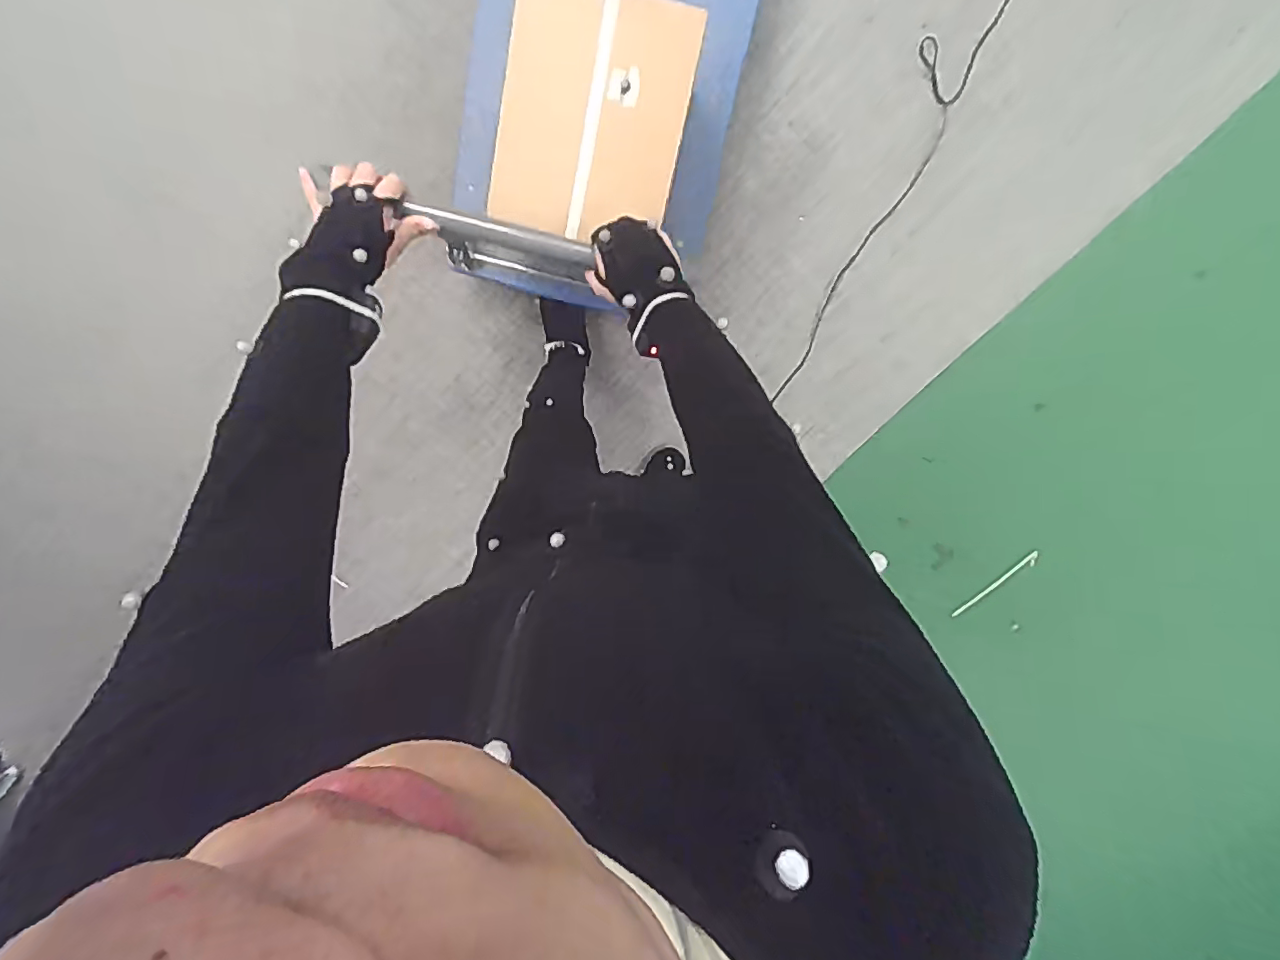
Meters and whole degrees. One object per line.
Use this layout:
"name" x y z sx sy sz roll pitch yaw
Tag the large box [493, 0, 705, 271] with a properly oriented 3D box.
"large box" -0.079 -0.672 1.089 0.320 0.320 0.408 13 106 -4
